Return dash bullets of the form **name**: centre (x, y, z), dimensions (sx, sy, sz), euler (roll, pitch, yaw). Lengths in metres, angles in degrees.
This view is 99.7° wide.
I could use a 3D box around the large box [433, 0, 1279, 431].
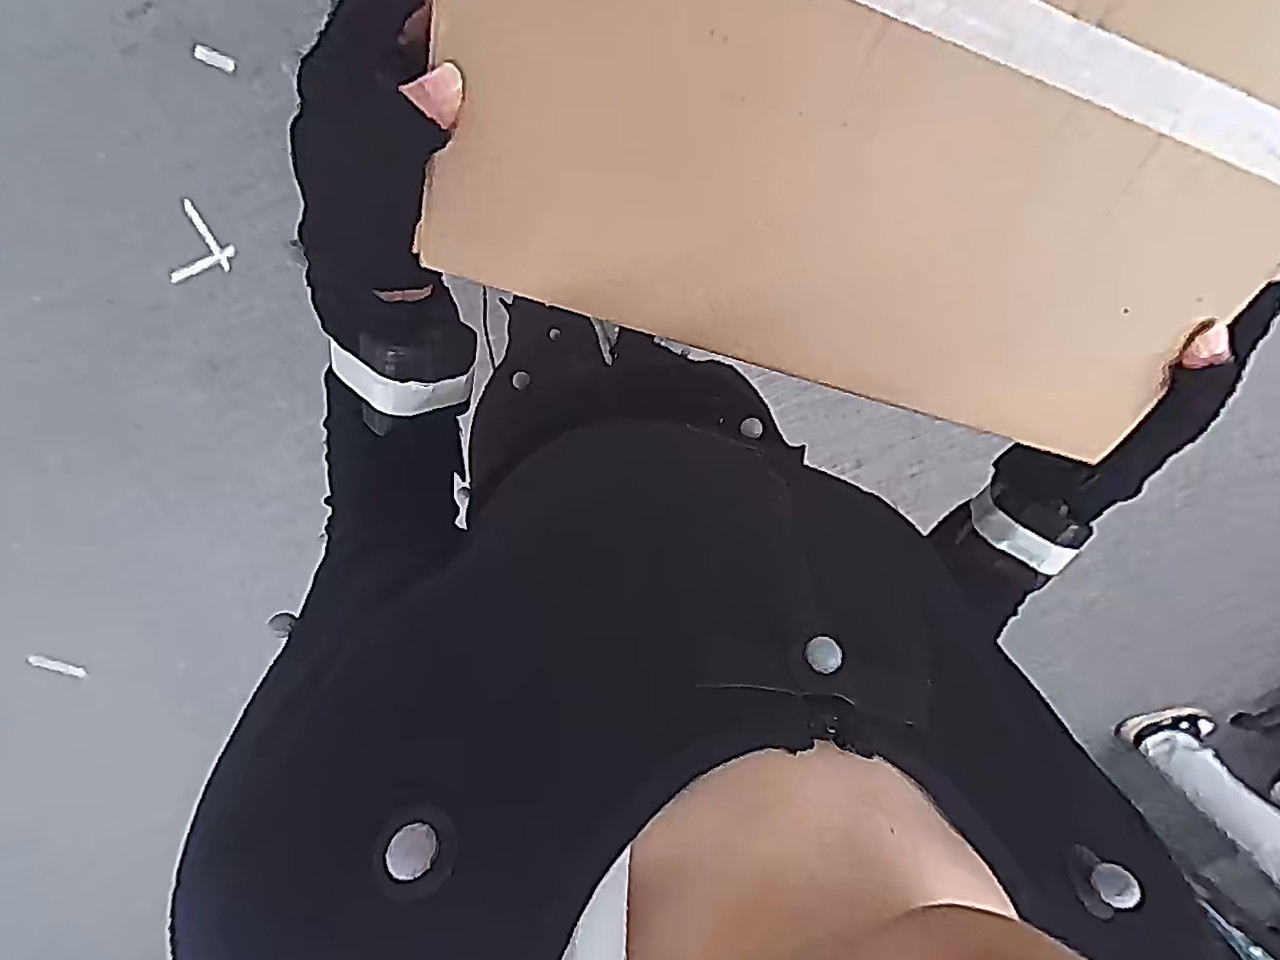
- **large box**: centre (0.115, -0.271, 0.354), dimensions (0.408, 0.320, 0.320), euler (12, 122, -10)
